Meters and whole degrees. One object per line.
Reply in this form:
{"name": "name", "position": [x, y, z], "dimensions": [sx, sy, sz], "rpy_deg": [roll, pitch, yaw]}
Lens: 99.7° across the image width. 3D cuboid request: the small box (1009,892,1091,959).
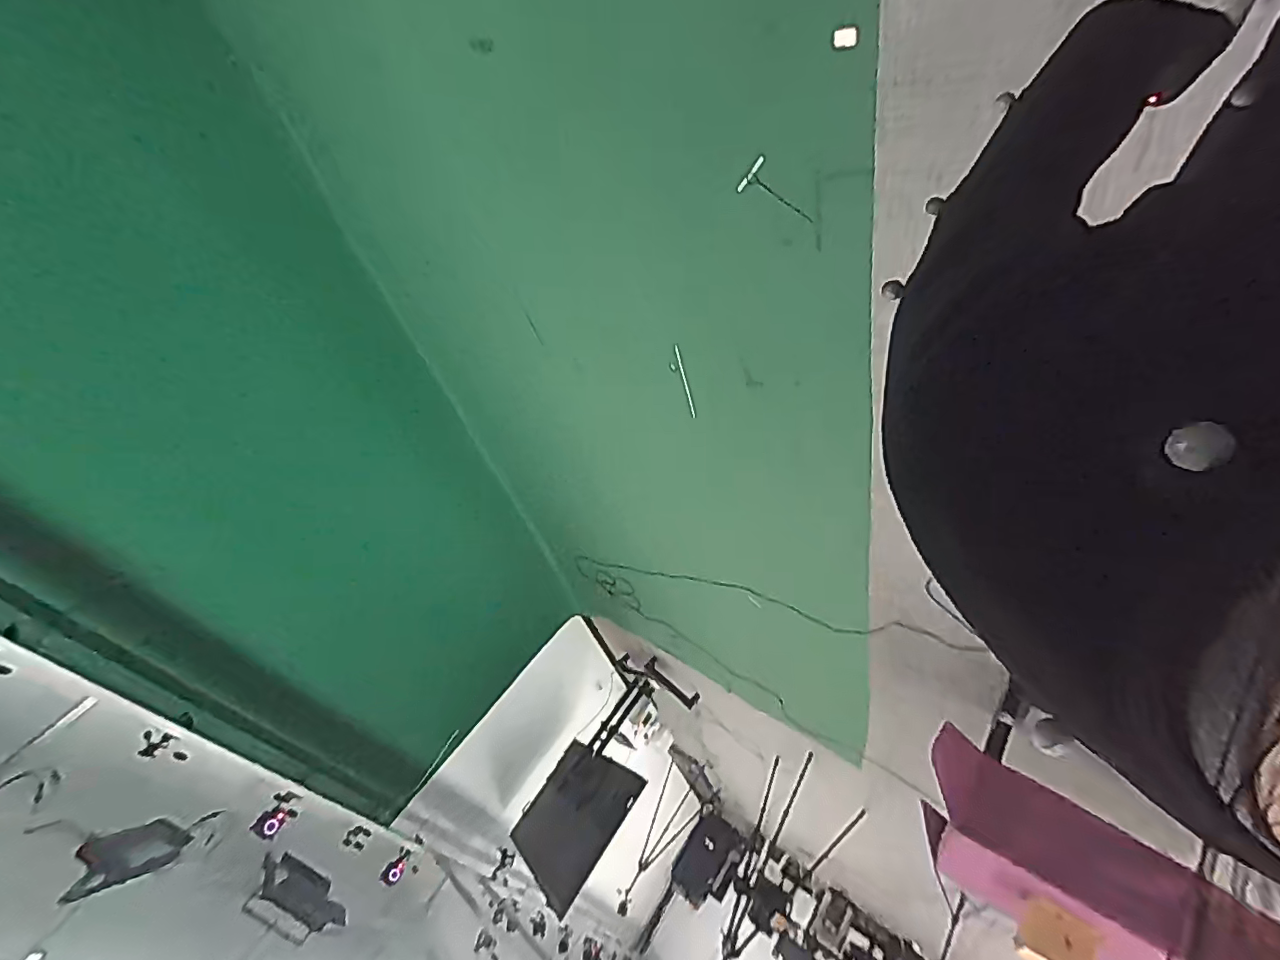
{"name": "small box", "position": [1.331, 1.482, 1.754], "dimensions": [0.168, 0.176, 0.179], "rpy_deg": [21, 146, 34]}
